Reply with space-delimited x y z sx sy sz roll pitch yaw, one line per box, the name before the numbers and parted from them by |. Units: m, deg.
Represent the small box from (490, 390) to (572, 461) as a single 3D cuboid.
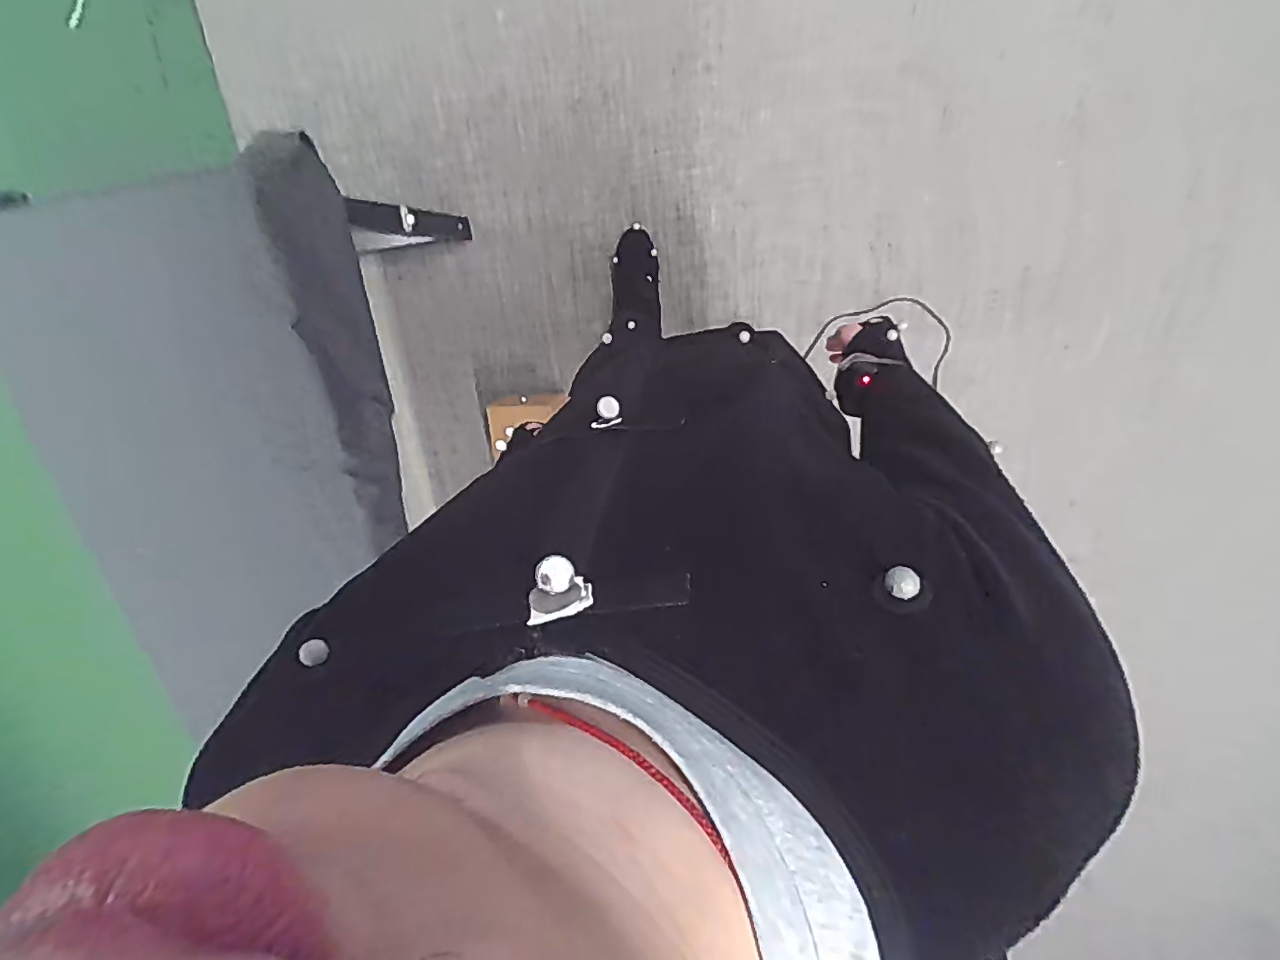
small box | -0.298 -0.159 1.523 0.179 0.176 0.168 1 110 12
